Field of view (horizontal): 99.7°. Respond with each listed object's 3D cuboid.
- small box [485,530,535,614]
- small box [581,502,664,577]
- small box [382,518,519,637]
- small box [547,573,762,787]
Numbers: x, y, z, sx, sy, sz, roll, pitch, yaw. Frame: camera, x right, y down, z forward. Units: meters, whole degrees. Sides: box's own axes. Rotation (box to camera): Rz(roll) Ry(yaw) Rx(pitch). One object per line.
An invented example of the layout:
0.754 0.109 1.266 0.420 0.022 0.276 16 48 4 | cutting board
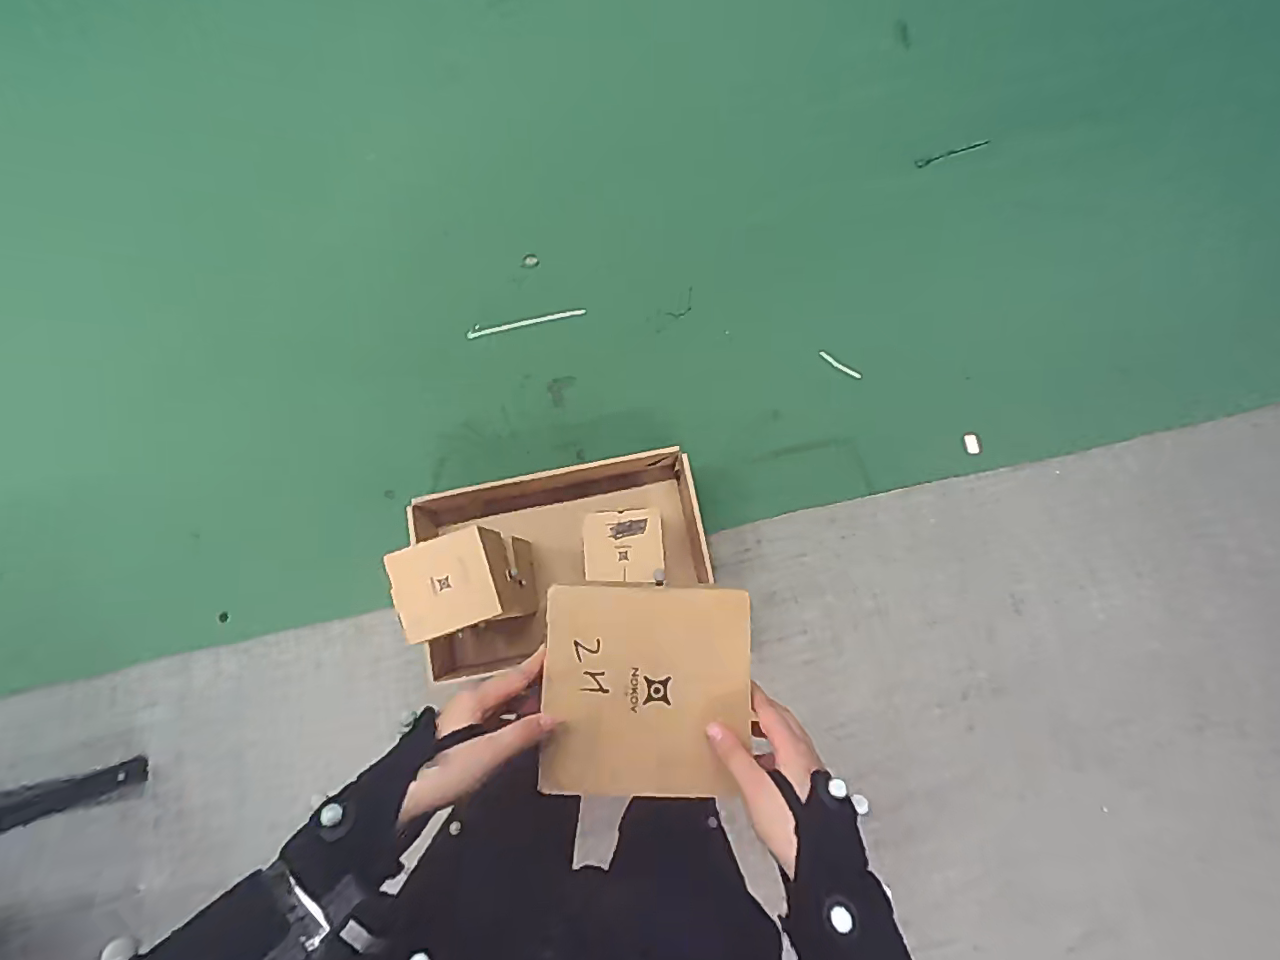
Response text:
-0.340 0.207 1.179 0.179 0.176 0.168 -9 81 0 | small box
-0.036 0.147 1.184 0.168 0.176 0.179 -4 82 1 | small box
-0.347 0.181 1.016 0.179 0.176 0.168 -19 82 -4 | small box
0.012 0.179 0.529 0.179 0.176 0.168 2 80 -1 | small box
